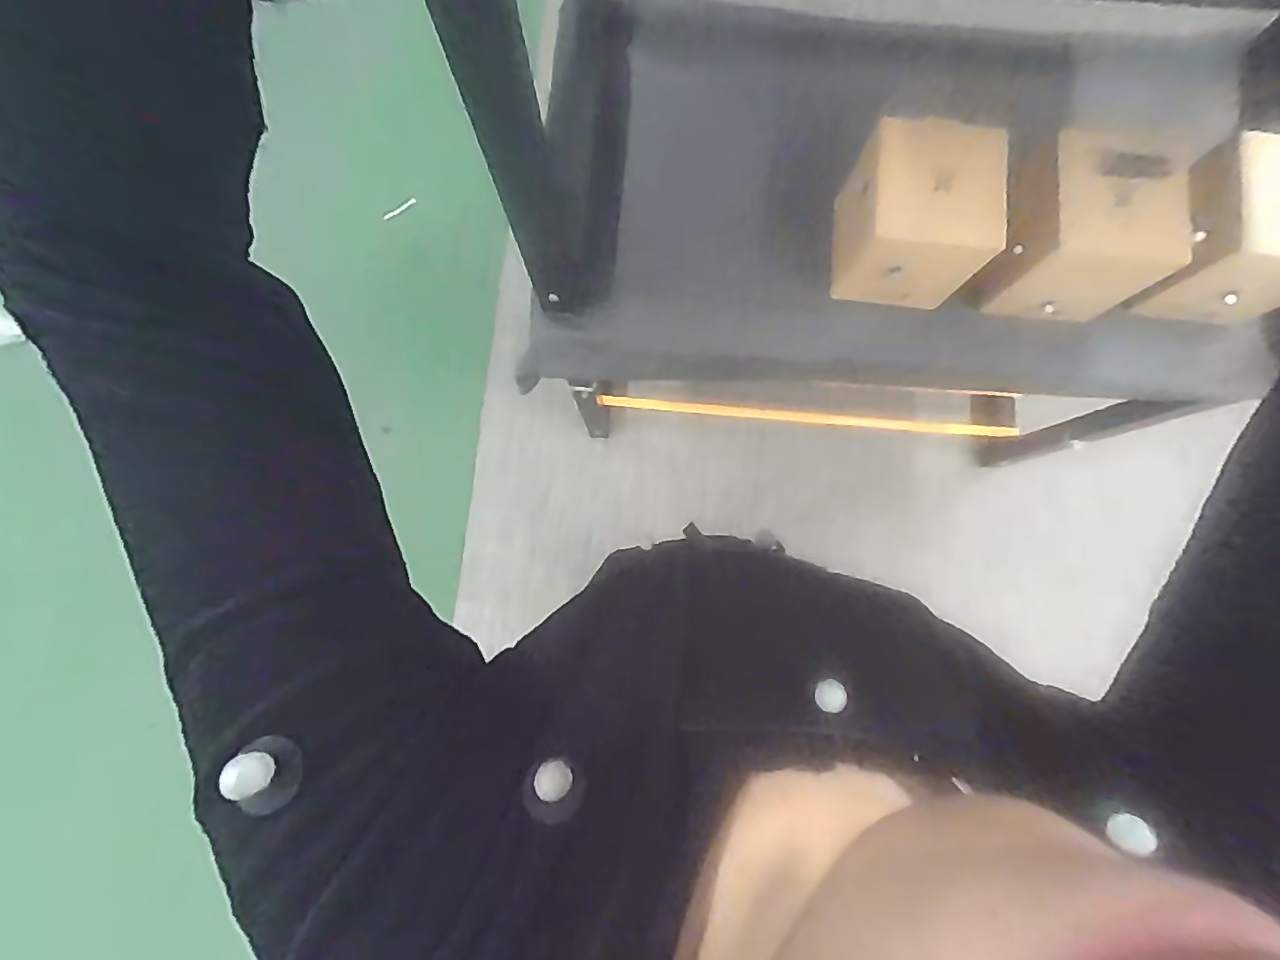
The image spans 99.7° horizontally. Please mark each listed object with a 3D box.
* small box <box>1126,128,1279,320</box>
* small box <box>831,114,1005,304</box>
[{"bbox_3d":[0.835,-0.346,0.760,0.168,0.176,0.179,8,80,1],"label":"small box"},{"bbox_3d":[0.383,-0.373,0.770,0.168,0.176,0.179,7,80,2],"label":"small box"}]
